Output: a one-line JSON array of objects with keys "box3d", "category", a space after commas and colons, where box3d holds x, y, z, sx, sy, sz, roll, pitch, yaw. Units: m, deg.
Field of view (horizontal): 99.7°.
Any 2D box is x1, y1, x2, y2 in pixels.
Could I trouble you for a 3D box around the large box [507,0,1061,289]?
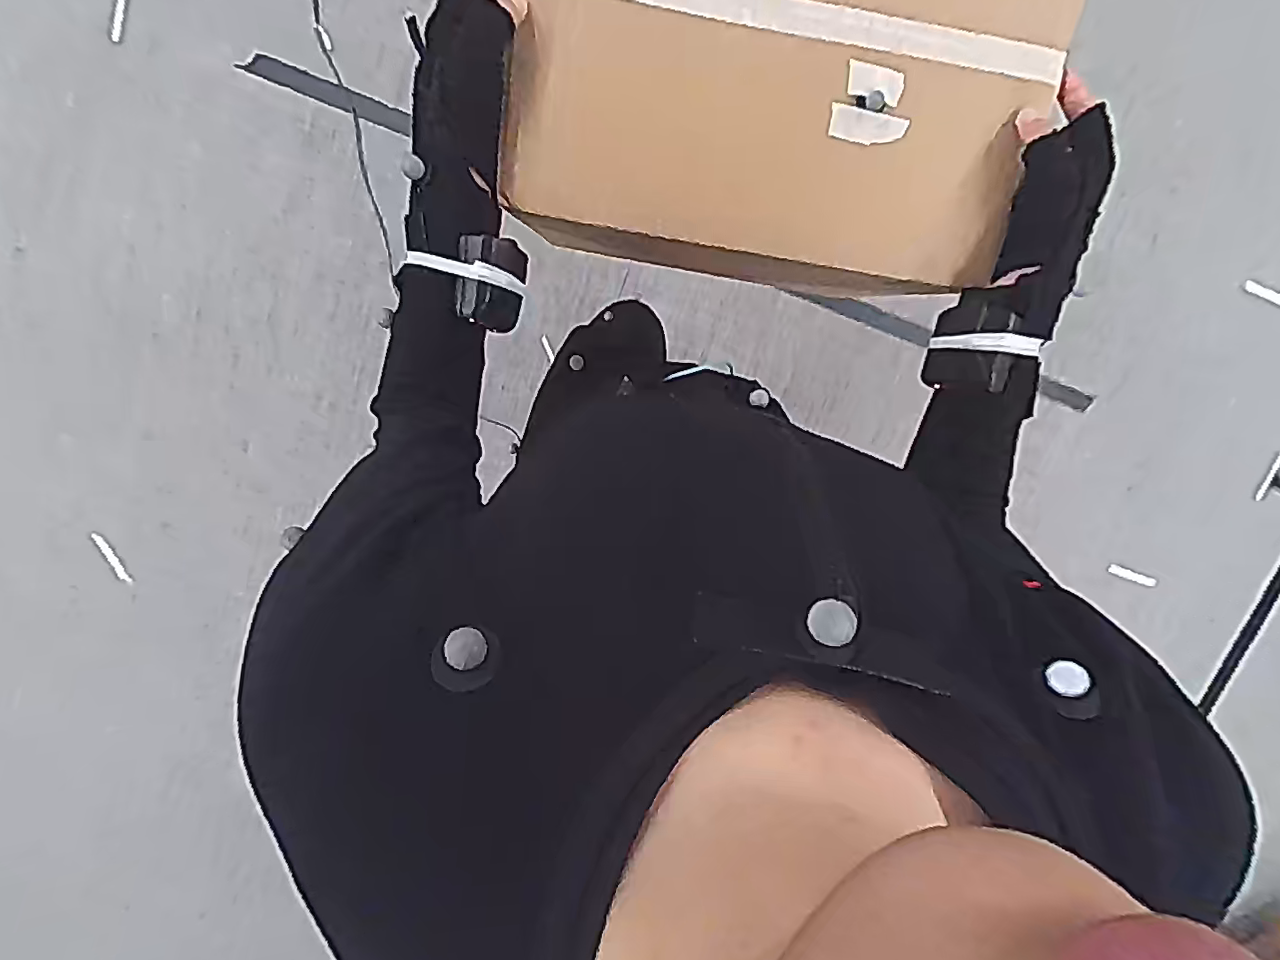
[{"box3d": [0.102, -0.385, 0.543, 0.408, 0.320, 0.320, 8, 108, -5], "category": "large box"}]
